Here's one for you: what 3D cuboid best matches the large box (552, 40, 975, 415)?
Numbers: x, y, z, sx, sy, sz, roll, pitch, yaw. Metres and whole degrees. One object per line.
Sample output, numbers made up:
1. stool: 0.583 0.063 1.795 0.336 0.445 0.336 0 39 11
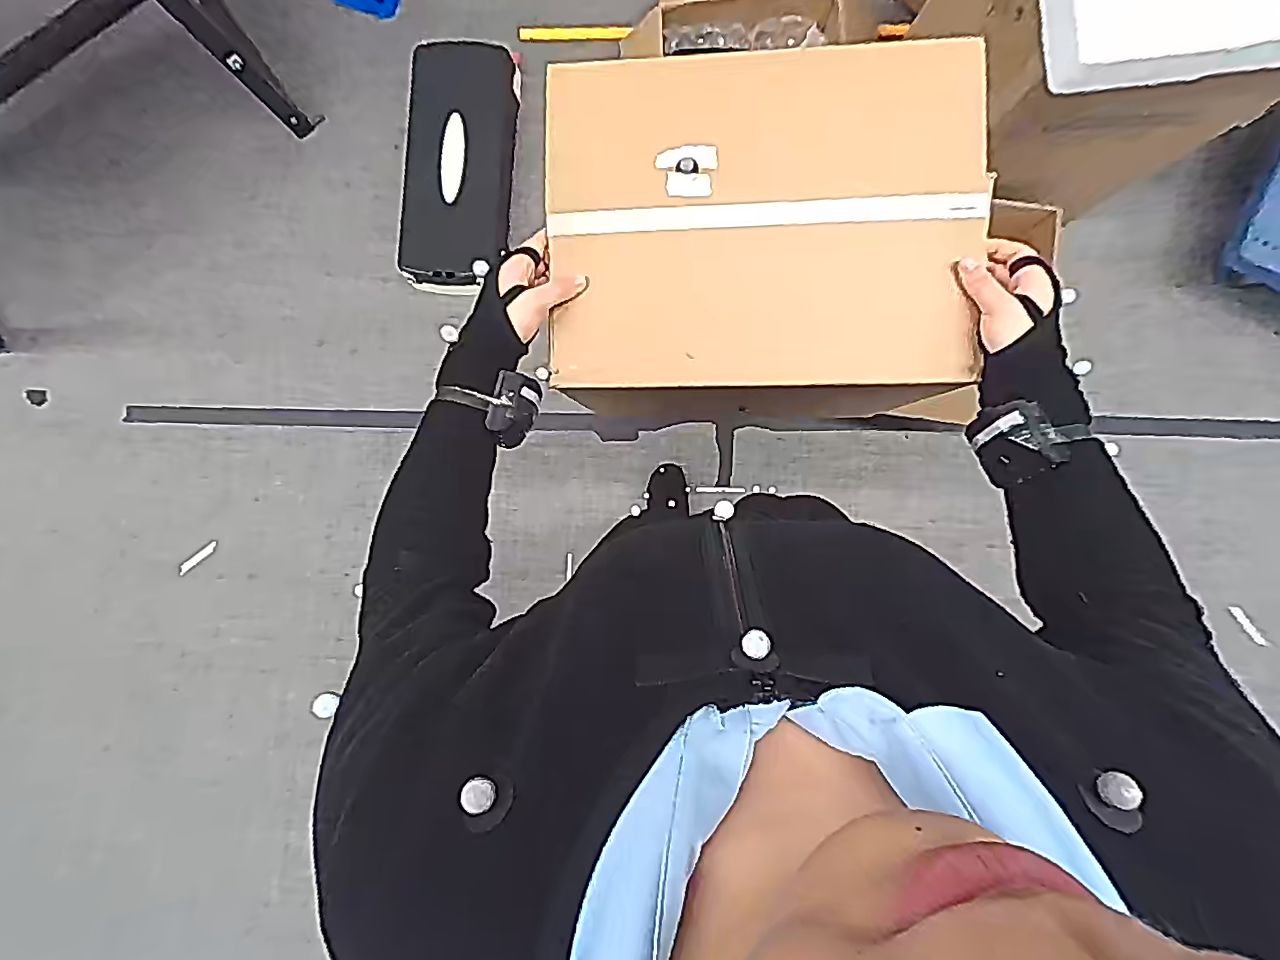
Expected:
1. large box: 0.129 -0.251 0.667 0.408 0.320 0.320 0 90 7
